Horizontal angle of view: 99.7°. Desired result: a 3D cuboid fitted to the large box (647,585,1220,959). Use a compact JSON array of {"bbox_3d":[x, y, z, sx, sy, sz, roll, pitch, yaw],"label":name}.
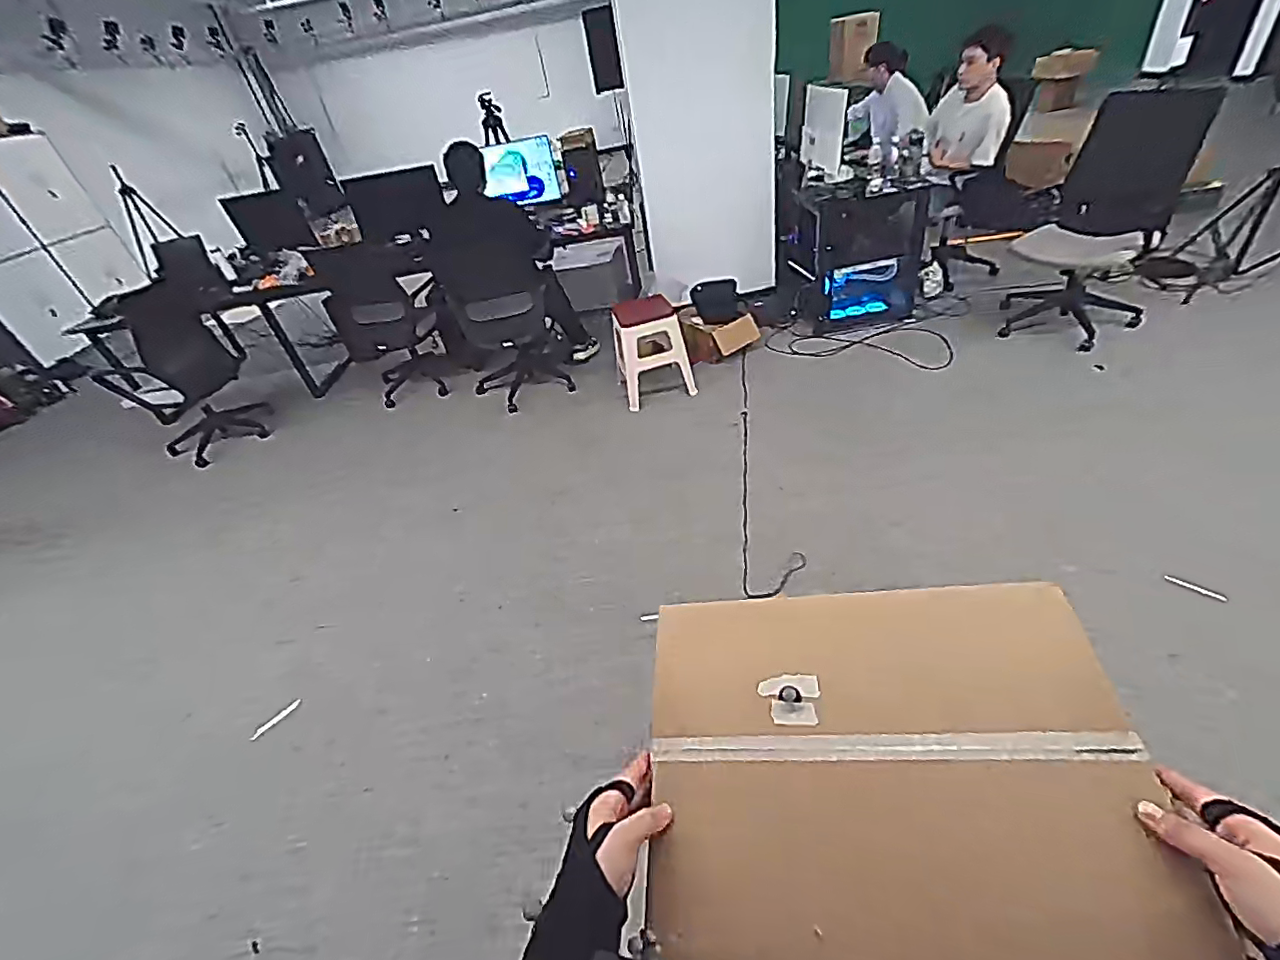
[{"bbox_3d":[0.242,0.344,0.600,0.408,0.320,0.320,-8,46,13],"label":"large box"}]
